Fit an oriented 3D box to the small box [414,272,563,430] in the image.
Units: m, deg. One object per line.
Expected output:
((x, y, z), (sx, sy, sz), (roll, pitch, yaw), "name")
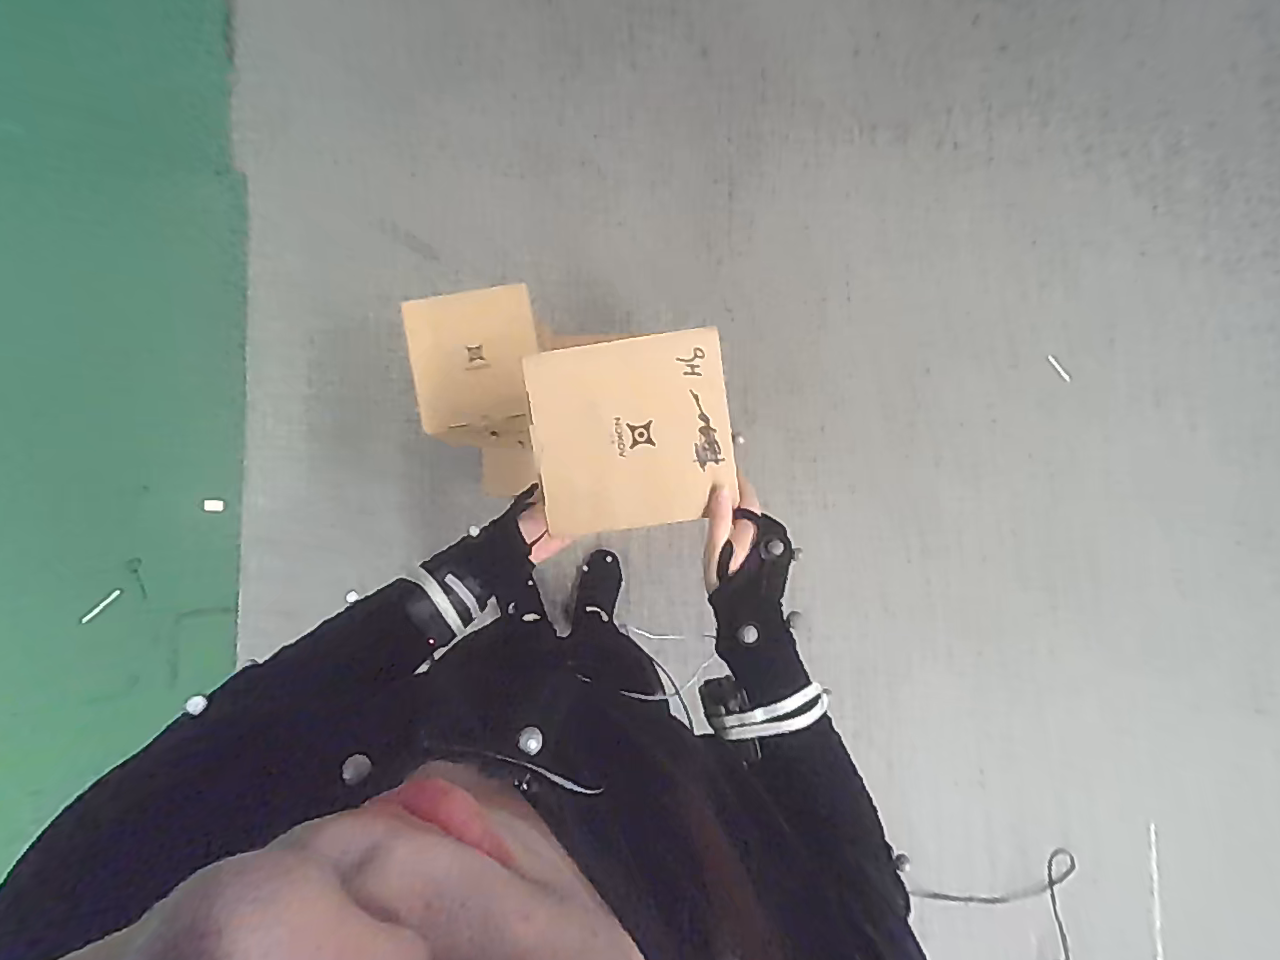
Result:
((-0.209, -0.177, 0.787), (0.168, 0.176, 0.179), (-10, 91, -5), "small box")
